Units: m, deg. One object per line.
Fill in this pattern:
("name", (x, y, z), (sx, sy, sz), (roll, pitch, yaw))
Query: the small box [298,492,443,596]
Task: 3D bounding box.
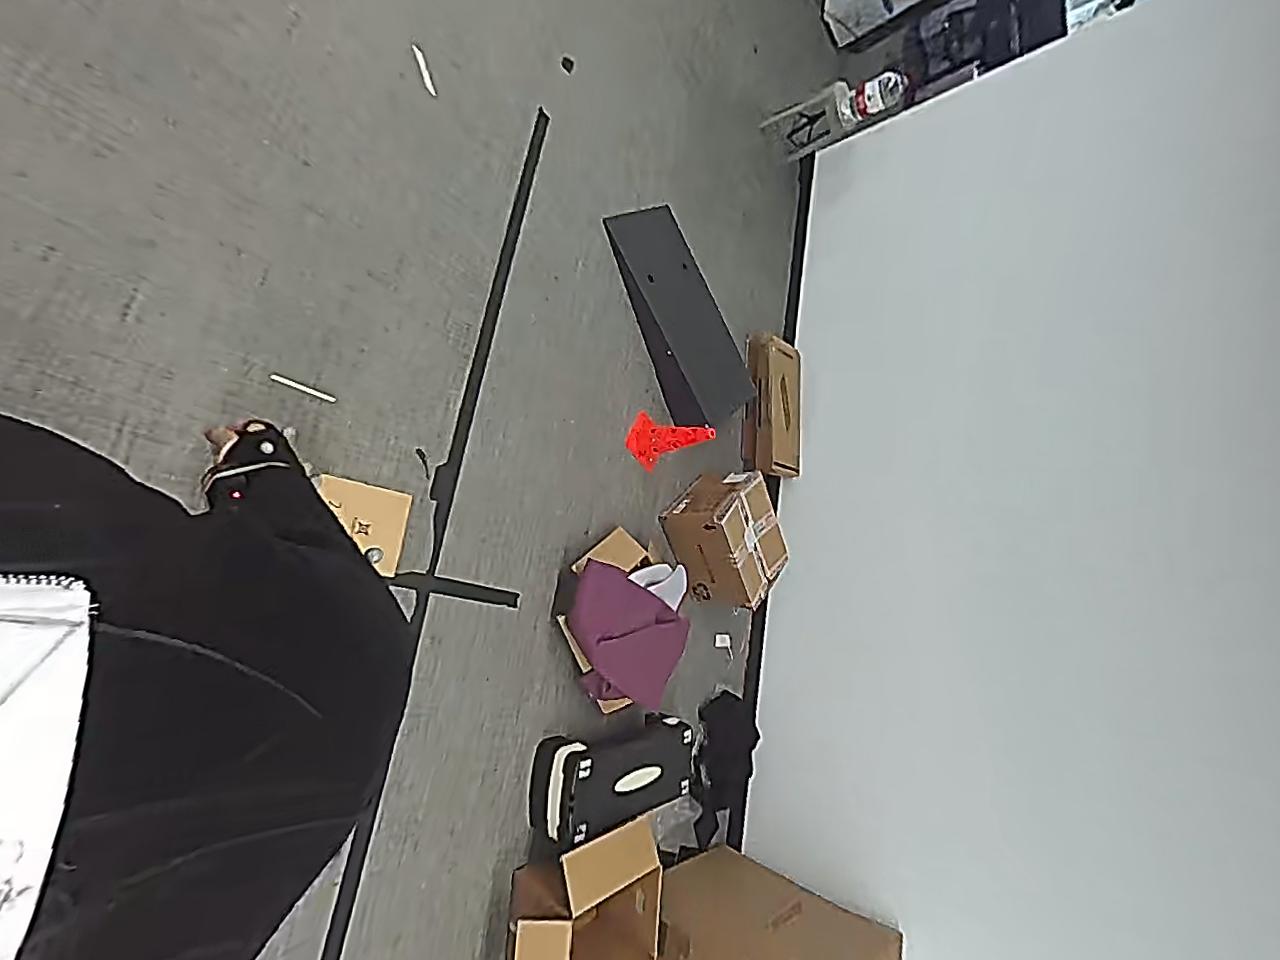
("small box", (-0.511, 0.122, 1.029), (0.179, 0.176, 0.168), (21, 71, -46))
